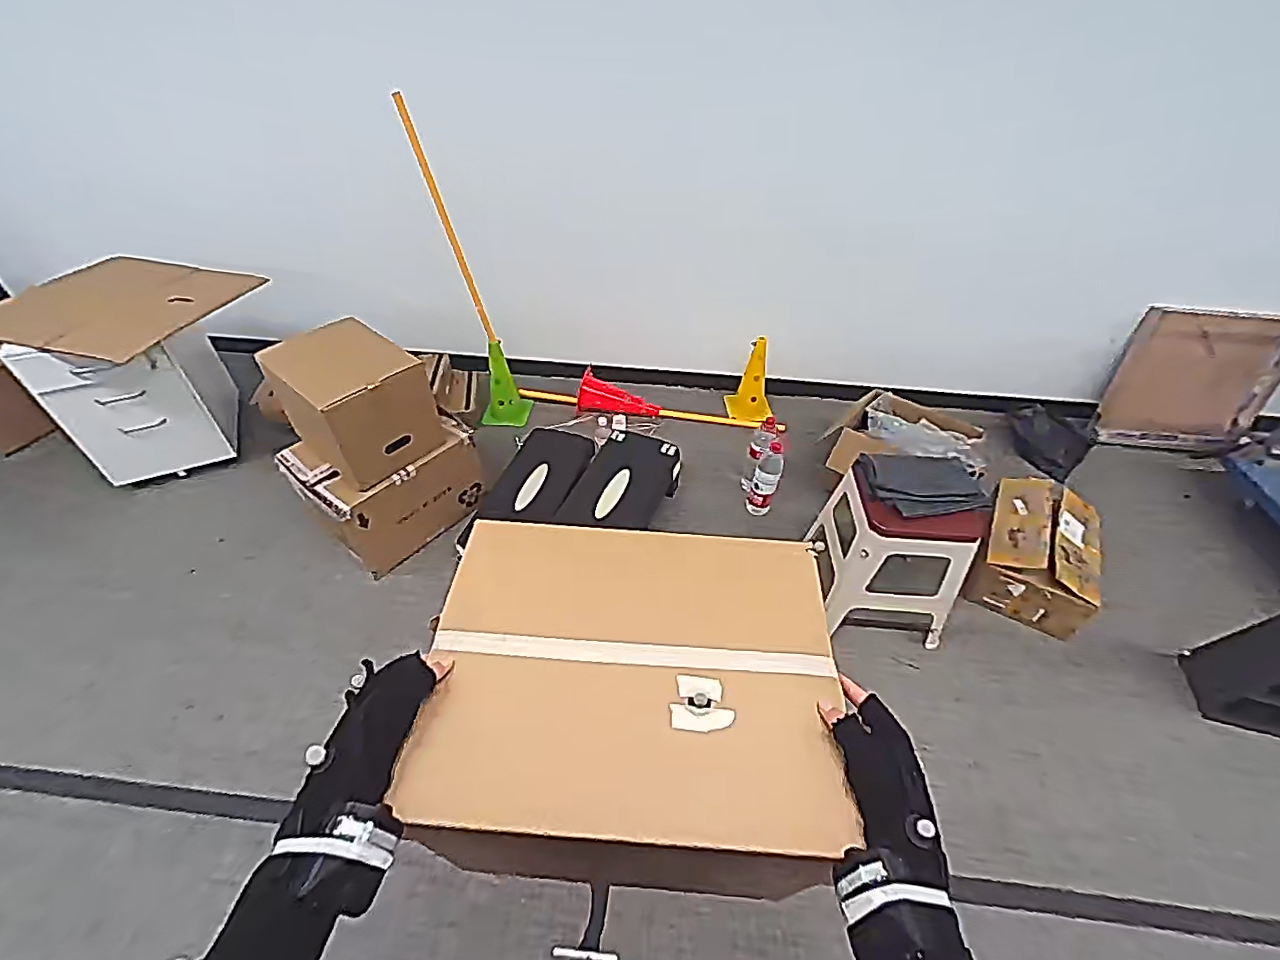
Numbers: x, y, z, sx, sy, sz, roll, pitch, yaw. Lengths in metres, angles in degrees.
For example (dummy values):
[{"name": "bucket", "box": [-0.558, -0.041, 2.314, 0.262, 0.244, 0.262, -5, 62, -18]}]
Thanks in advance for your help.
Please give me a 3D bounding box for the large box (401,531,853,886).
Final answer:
[{"name": "large box", "box": [-0.011, 0.287, 0.674, 0.408, 0.320, 0.320, 4, 48, 1]}]
